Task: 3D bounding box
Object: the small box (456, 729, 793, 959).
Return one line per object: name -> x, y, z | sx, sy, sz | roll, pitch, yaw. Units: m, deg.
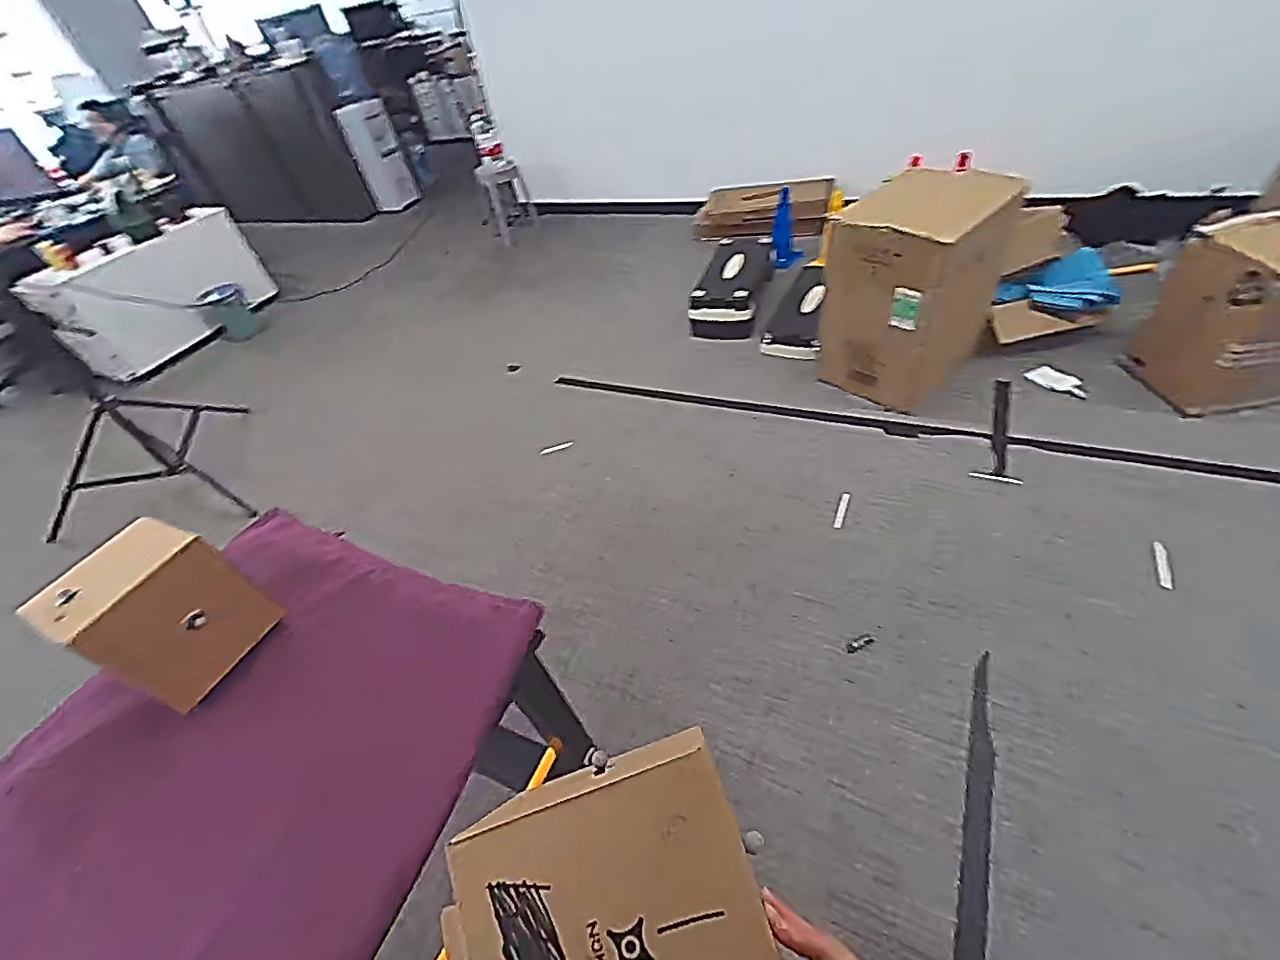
small box -> -0.001, 0.293, 0.384 | 0.179, 0.176, 0.168 | -20, 70, -3
